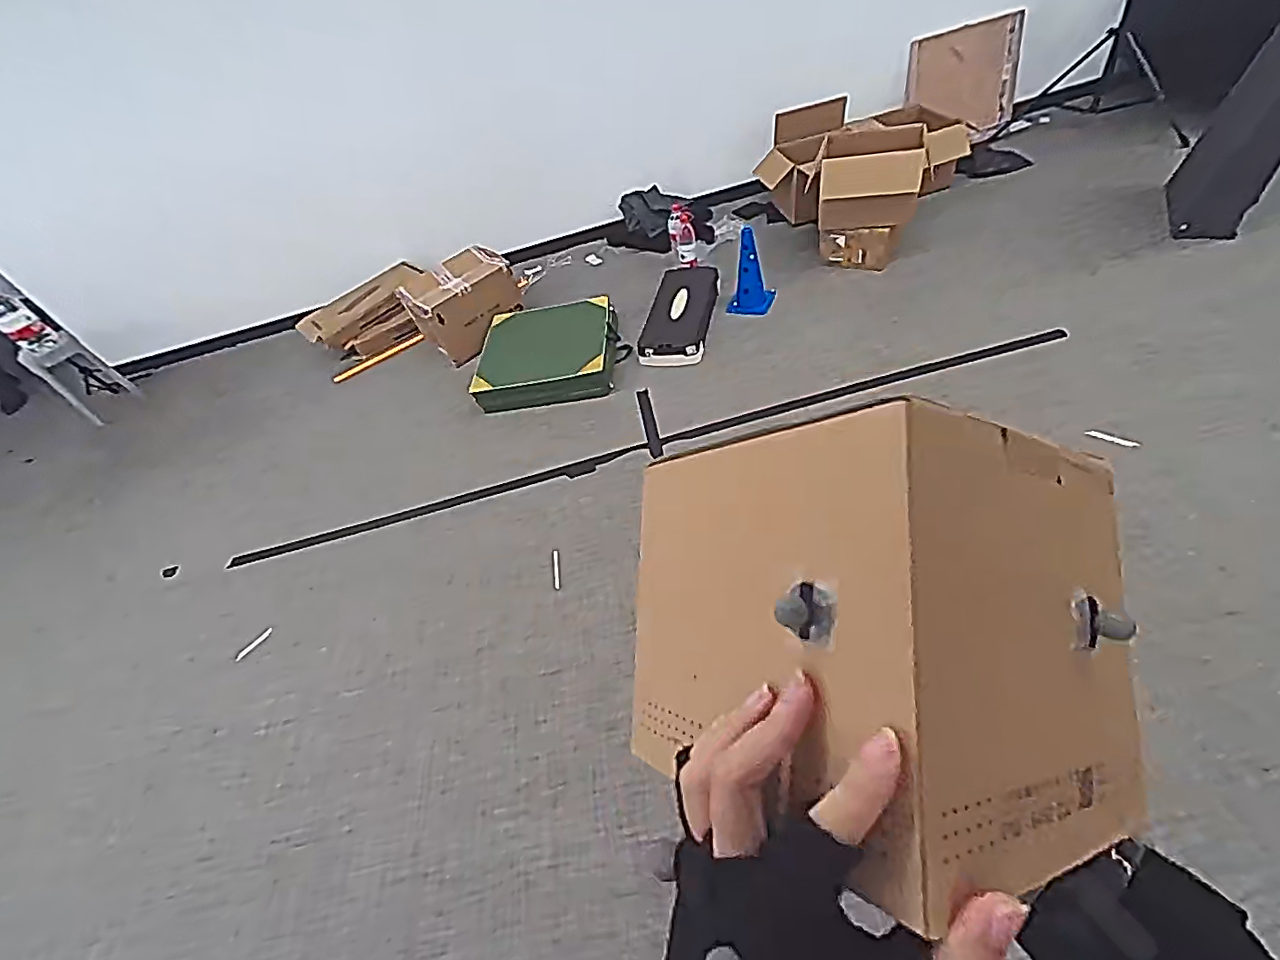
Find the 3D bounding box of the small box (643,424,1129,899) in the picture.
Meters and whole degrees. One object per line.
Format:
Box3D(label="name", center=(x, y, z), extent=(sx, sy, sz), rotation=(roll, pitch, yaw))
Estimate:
Box3D(label="small box", center=(0.114, 0.080, 0.284), extent=(0.179, 0.168, 0.176), rotation=(-13, 71, 58))
